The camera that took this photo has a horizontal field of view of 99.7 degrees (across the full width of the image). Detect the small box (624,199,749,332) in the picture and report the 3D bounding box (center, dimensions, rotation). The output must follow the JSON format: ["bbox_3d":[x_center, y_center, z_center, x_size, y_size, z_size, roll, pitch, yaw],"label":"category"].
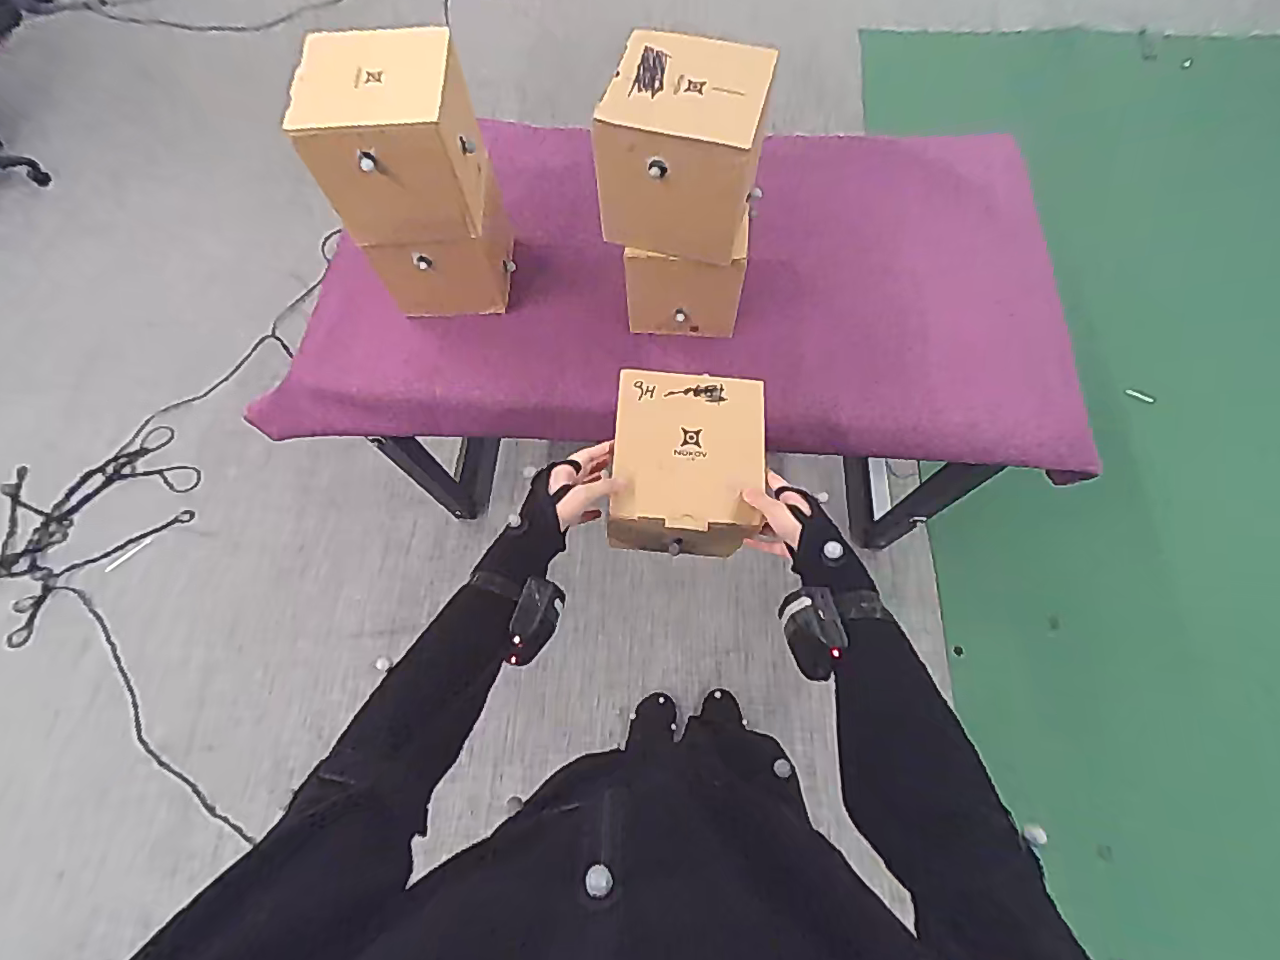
[{"bbox_3d":[0.069,-0.351,0.817,0.168,0.176,0.179,5,69,4],"label":"small box"}]

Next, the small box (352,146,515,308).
[{"bbox_3d":[-0.307,-0.385,0.841,0.179,0.176,0.168,-1,69,1],"label":"small box"}]

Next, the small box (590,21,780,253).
[{"bbox_3d":[0.054,-0.410,0.663,0.179,0.176,0.168,15,70,7],"label":"small box"}]

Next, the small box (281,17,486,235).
[{"bbox_3d":[-0.306,-0.439,0.688,0.179,0.176,0.168,-3,70,1],"label":"small box"}]

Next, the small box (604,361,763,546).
[{"bbox_3d":[0.046,-0.021,0.657,0.168,0.176,0.179,5,73,-3],"label":"small box"}]
